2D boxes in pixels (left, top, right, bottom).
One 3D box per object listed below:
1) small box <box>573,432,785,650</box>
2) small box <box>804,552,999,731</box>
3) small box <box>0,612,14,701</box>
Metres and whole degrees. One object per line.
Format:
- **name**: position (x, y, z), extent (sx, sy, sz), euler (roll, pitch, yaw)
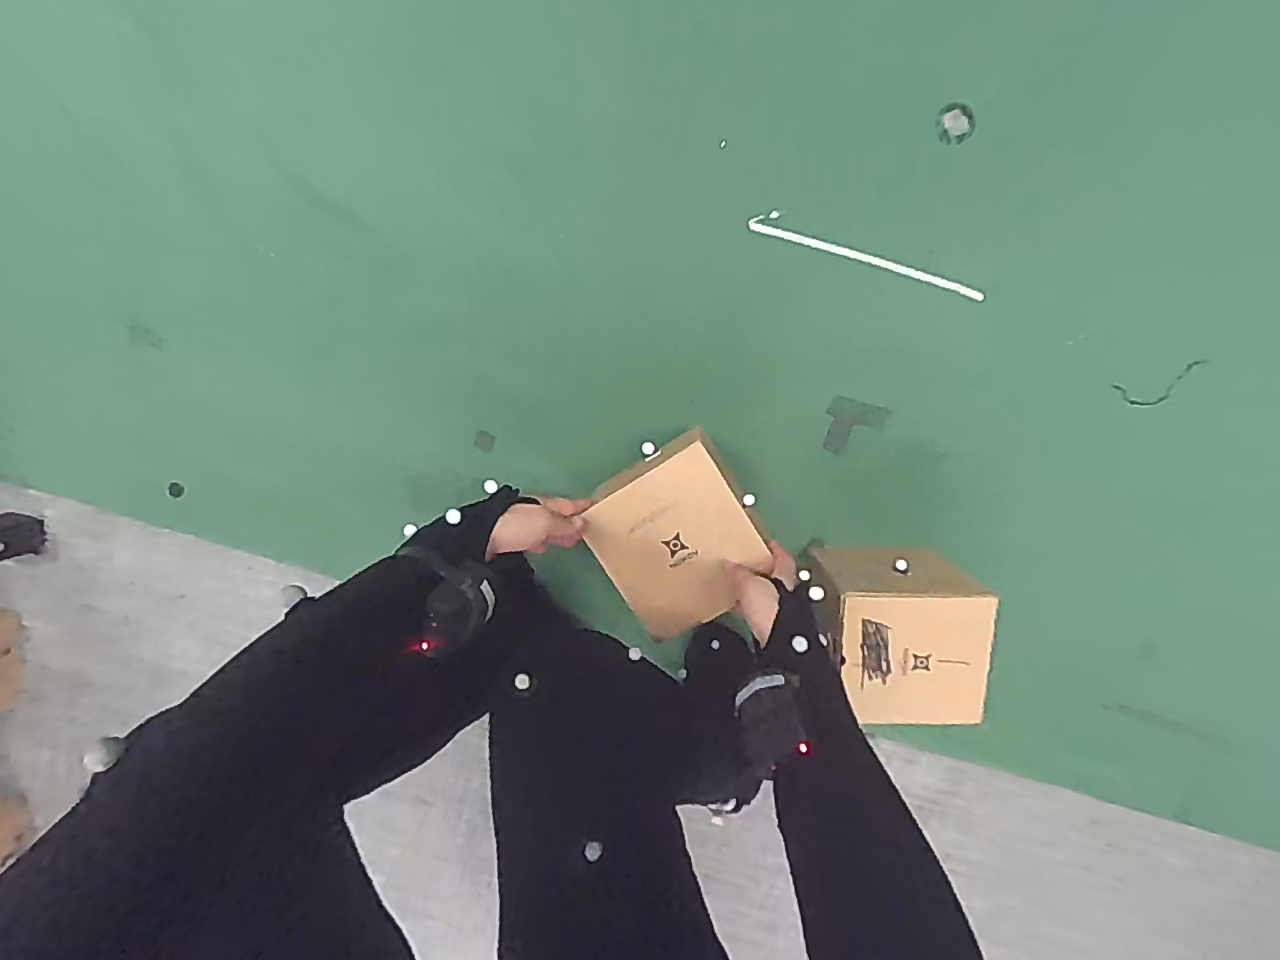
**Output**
- **small box**: position (0.049, 0.060, 0.645), extent (0.168, 0.176, 0.179), euler (-32, 97, 11)
- **small box**: position (0.323, 0.199, 0.707), extent (0.179, 0.176, 0.168), euler (1, 102, 2)
- **small box**: position (-1.103, 0.287, 0.805), extent (0.179, 0.176, 0.168), euler (12, 102, 1)
